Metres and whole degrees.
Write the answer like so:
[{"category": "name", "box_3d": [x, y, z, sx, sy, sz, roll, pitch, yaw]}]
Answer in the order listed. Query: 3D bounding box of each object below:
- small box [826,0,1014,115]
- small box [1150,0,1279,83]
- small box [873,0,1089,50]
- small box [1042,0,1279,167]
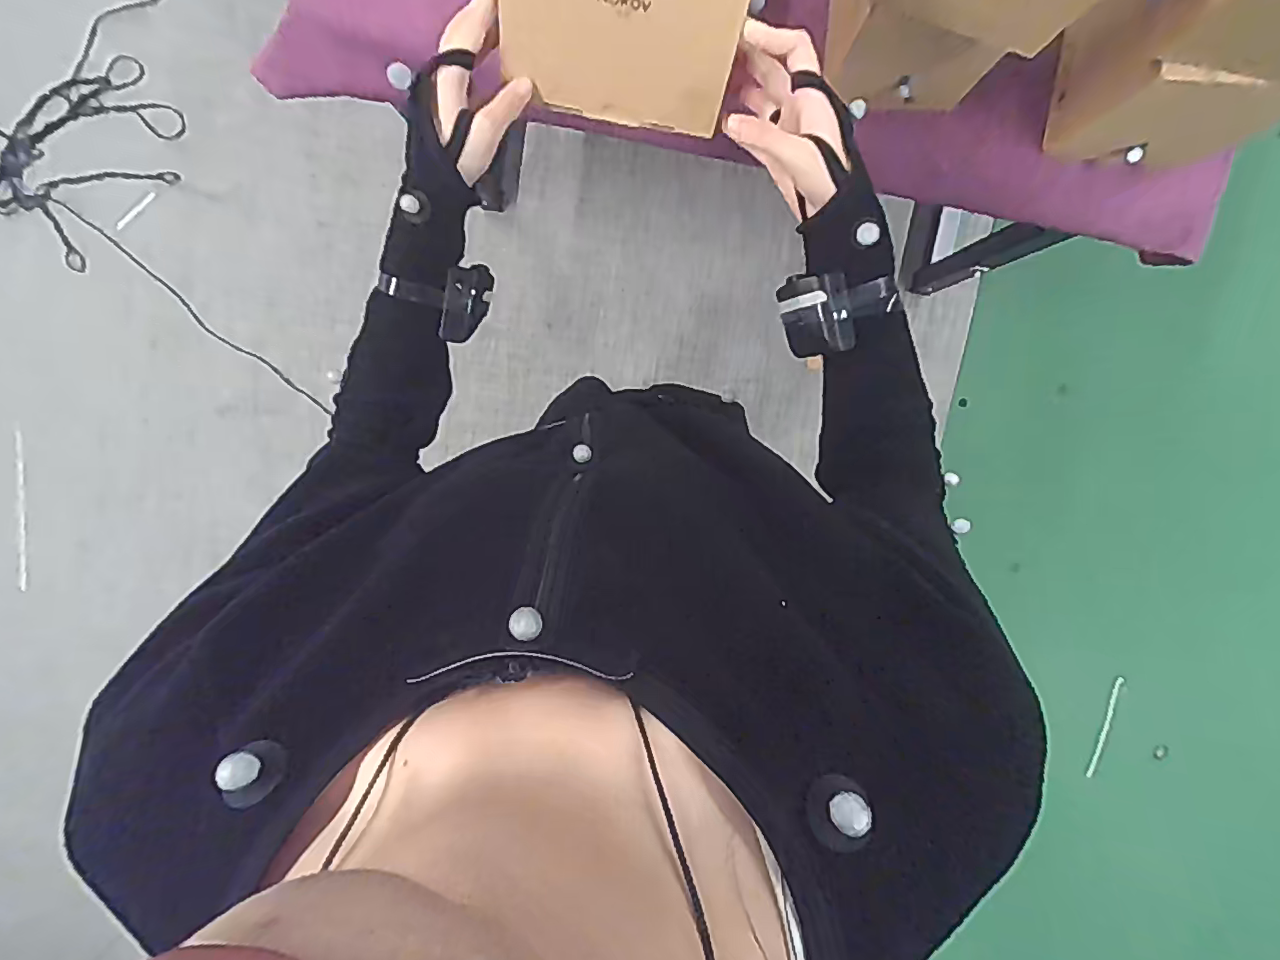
[{"category": "small box", "box_3d": [0.314, -0.543, 0.593, 0.168, 0.176, 0.179, 3, 98, 2]}, {"category": "small box", "box_3d": [0.587, -0.458, 0.431, 0.179, 0.176, 0.168, 12, 98, 1]}, {"category": "small box", "box_3d": [0.322, -0.498, 0.433, 0.179, 0.176, 0.168, 18, 97, 0]}, {"category": "small box", "box_3d": [0.601, -0.470, 0.594, 0.179, 0.176, 0.168, 6, 97, 1]}]
